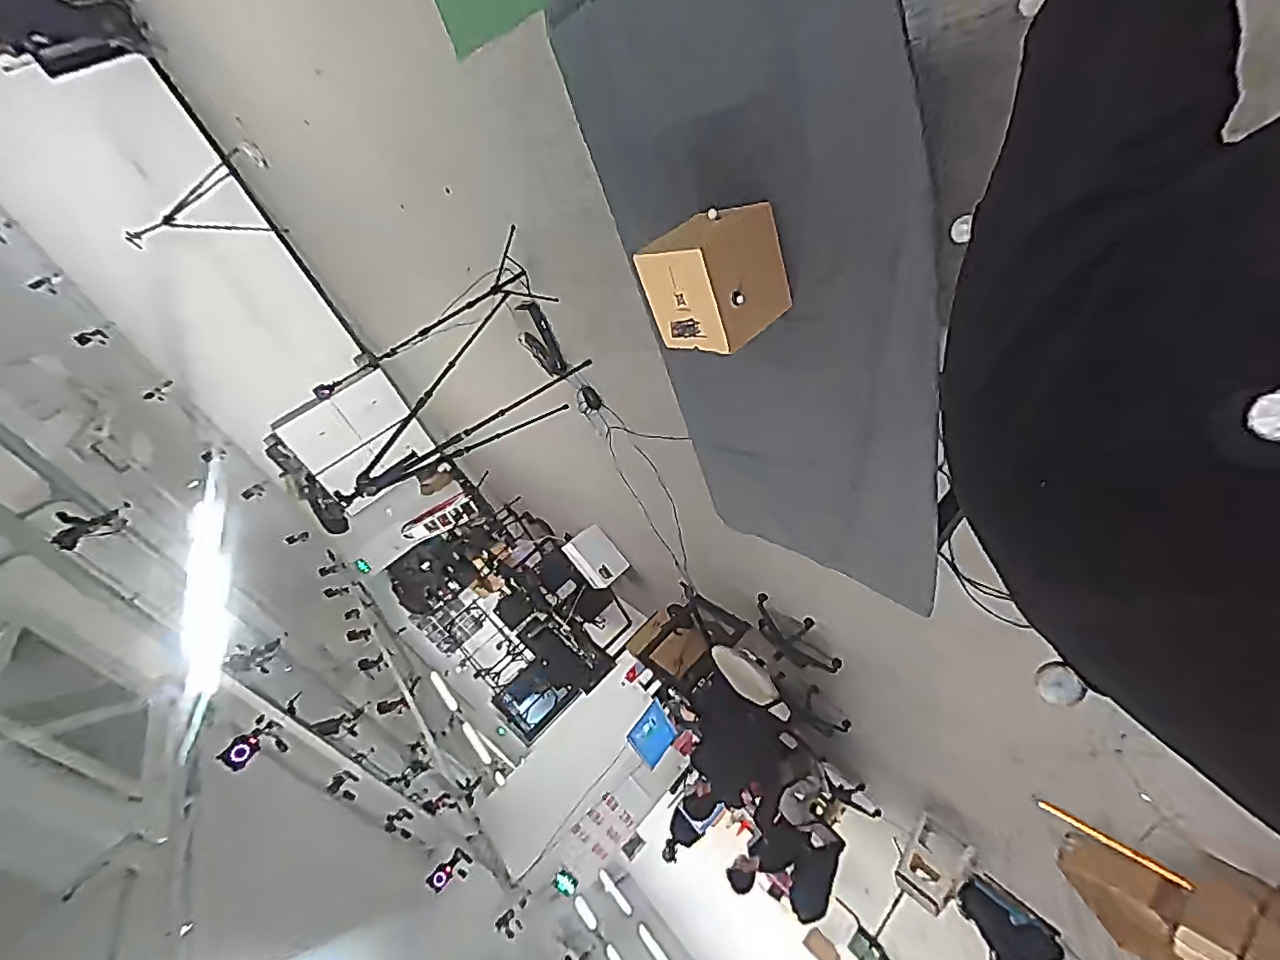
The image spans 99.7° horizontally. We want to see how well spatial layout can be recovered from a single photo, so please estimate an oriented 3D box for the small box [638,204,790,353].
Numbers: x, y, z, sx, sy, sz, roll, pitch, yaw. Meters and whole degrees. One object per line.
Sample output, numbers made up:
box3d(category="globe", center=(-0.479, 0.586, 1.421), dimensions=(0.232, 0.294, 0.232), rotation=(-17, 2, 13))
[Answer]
box3d(category="small box", center=(0.133, -0.341, 0.923), dimensions=(0.168, 0.176, 0.179), rotation=(22, 146, 49))
